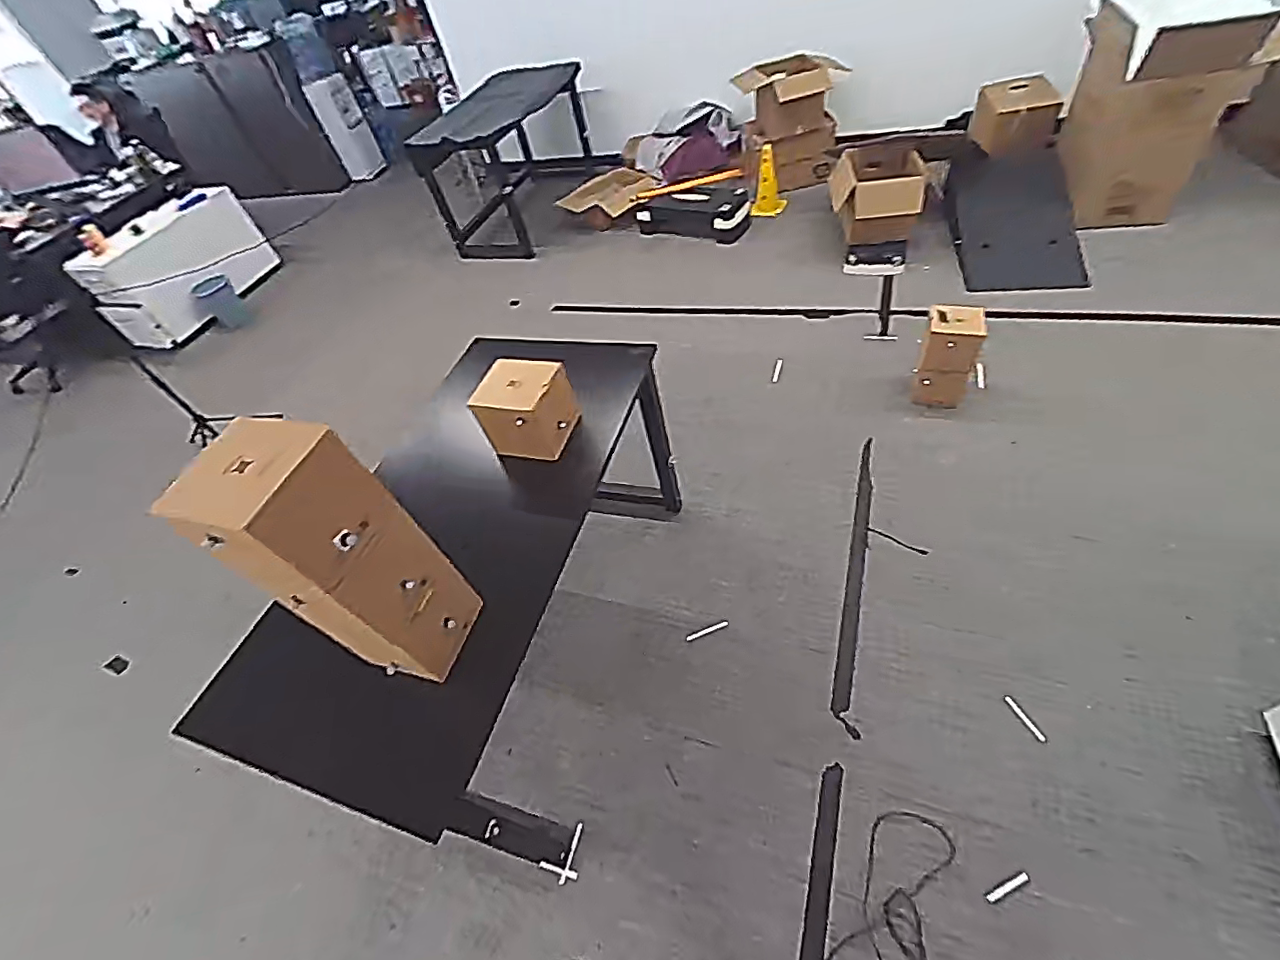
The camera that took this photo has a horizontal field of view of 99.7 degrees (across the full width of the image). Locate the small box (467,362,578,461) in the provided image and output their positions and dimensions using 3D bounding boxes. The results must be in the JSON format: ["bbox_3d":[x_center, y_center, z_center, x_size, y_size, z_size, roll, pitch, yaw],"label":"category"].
[{"bbox_3d":[-0.272,-0.164,1.294,0.179,0.176,0.168,7,53,19],"label":"small box"}]

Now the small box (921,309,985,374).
[{"bbox_3d":[1.145,-0.509,1.991,0.179,0.176,0.168,9,53,18],"label":"small box"}]

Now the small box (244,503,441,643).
[{"bbox_3d":[-0.458,0.140,0.860,0.179,0.176,0.168,6,53,19],"label":"small box"}]

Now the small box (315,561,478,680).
[{"bbox_3d":[-0.426,0.246,0.983,0.179,0.176,0.168,6,52,18],"label":"small box"}]

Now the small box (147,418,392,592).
[{"bbox_3d":[-0.487,0.035,0.739,0.179,0.176,0.168,6,53,18],"label":"small box"}]
